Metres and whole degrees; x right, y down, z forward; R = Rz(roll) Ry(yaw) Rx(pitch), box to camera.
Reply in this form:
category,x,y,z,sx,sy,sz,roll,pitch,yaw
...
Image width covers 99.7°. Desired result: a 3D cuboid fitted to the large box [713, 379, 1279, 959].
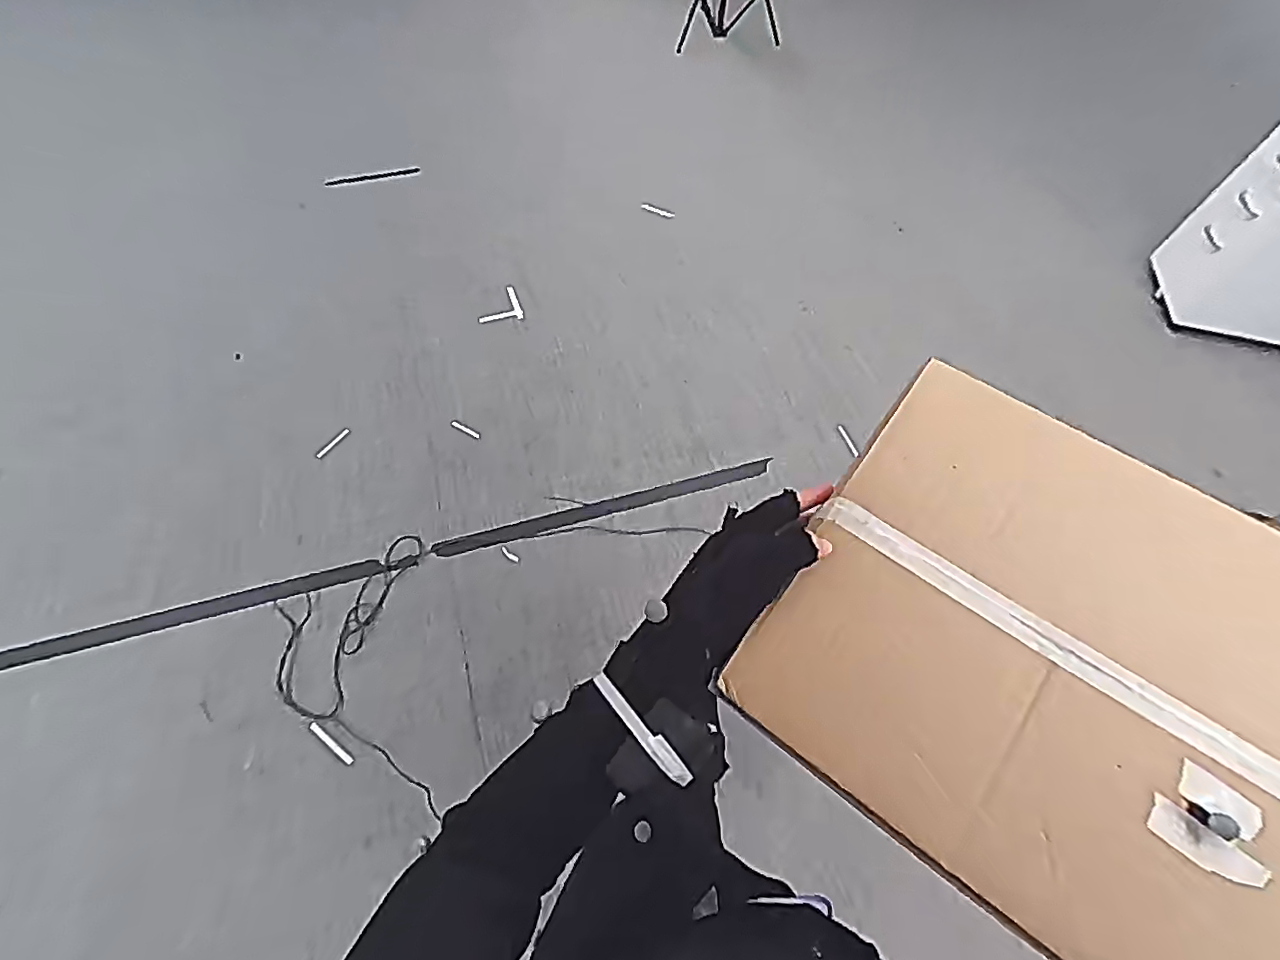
category,x,y,z,sx,sy,sz,roll,pitch,yaw
large box,0.319,0.184,0.501,0.408,0.320,0.320,34,77,17
